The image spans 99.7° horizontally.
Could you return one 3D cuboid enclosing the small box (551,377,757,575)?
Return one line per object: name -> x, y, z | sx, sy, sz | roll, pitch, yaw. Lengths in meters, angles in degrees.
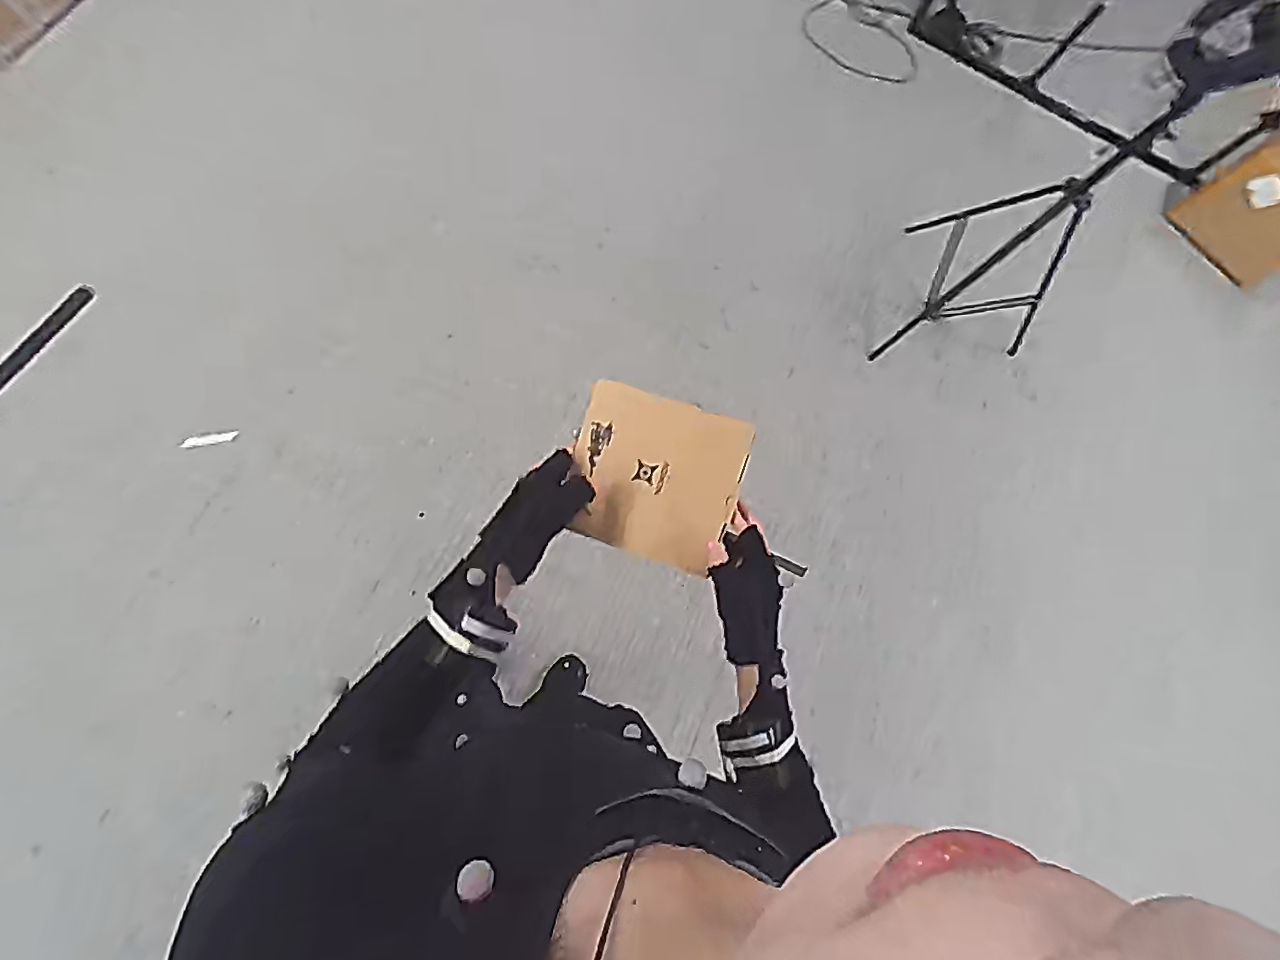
small box -> 0.020, -0.006, 0.636 | 0.179, 0.176, 0.168 | 19, 91, 5
